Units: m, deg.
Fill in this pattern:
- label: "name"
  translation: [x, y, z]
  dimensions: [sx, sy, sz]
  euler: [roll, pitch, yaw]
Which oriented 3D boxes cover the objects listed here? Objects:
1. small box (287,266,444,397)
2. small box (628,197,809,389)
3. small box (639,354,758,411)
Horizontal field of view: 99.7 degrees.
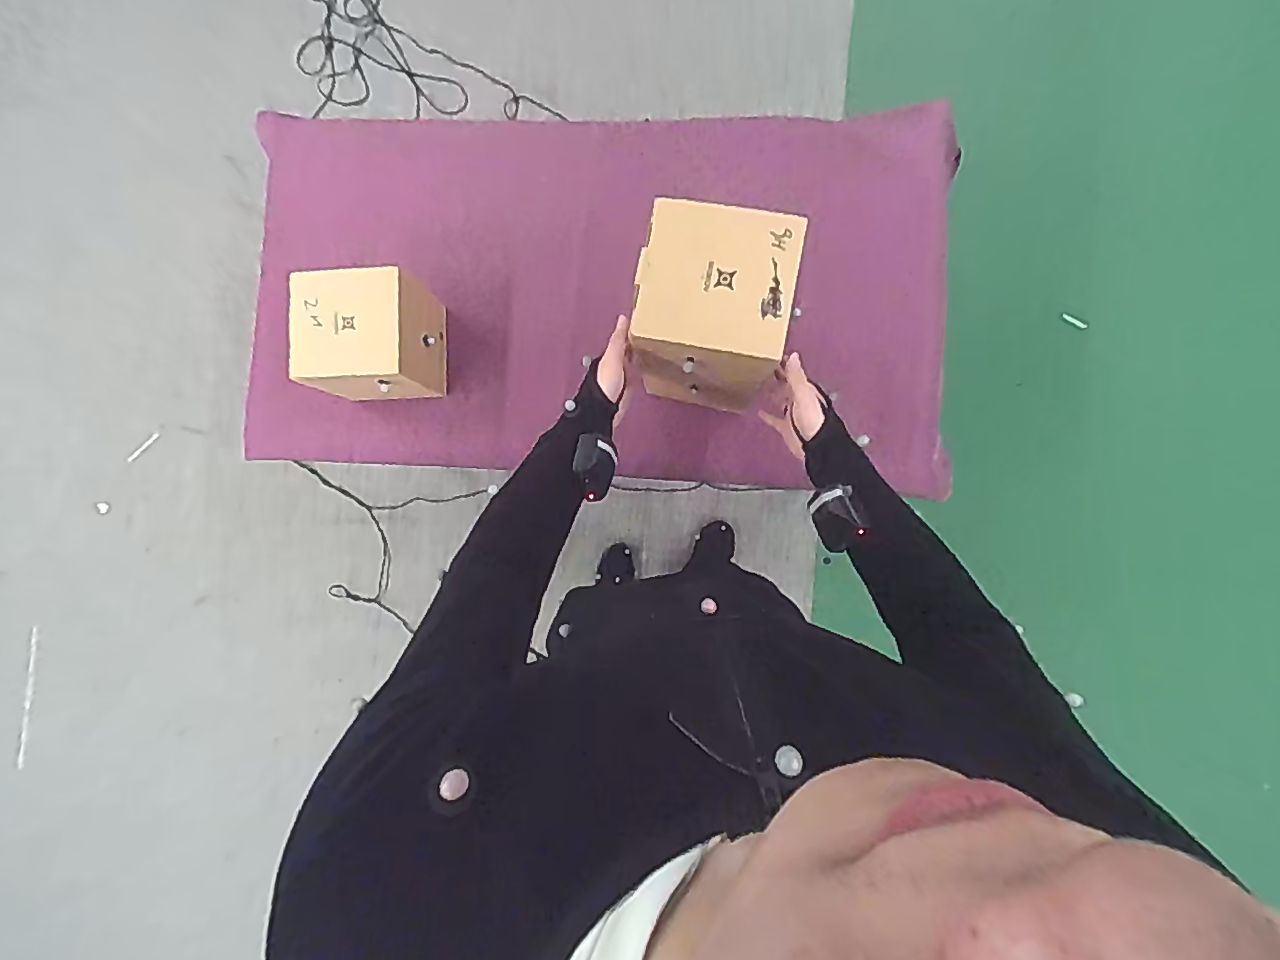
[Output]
- label: "small box"
  translation: [-0.437, -0.234, 0.885]
  dimensions: [0.179, 0.176, 0.168]
  euler: [-1, 87, 4]
- label: "small box"
  translation: [0.095, -0.222, 0.682]
  dimensions: [0.179, 0.176, 0.168]
  euler: [11, 88, 6]
- label: "small box"
  translation: [0.107, -0.215, 0.845]
  dimensions: [0.179, 0.176, 0.168]
  euler: [14, 89, 5]
